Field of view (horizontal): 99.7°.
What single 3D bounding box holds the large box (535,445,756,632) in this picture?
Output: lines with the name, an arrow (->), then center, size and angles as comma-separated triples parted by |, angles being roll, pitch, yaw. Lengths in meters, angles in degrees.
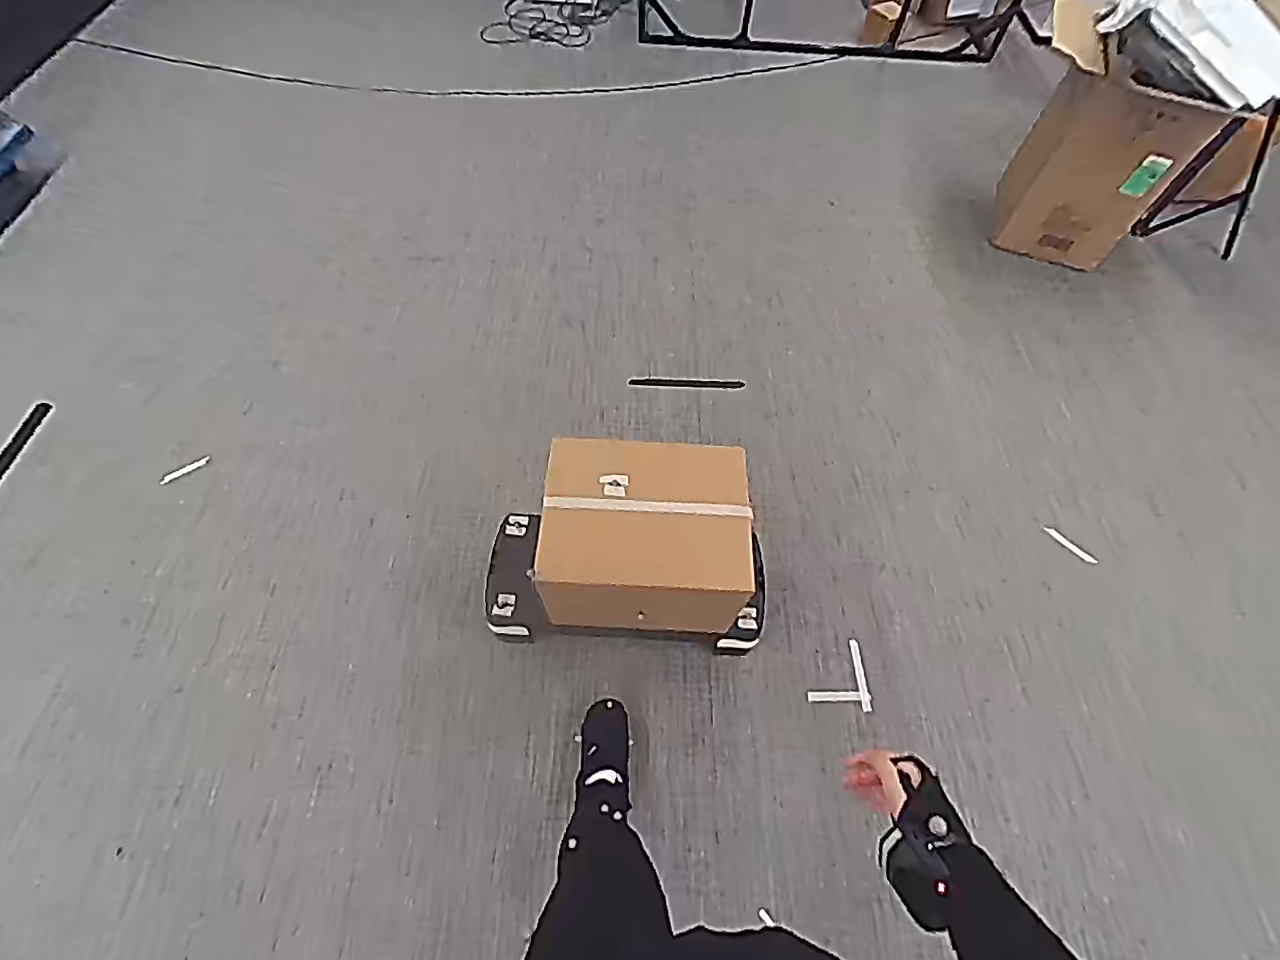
large box -> 0.012, 0.138, 1.167 | 0.408, 0.320, 0.320 | 2, 60, 0

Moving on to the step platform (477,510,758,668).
step platform -> -0.050, 0.270, 1.363 | 0.684, 0.204, 0.286 | 7, 60, 3
